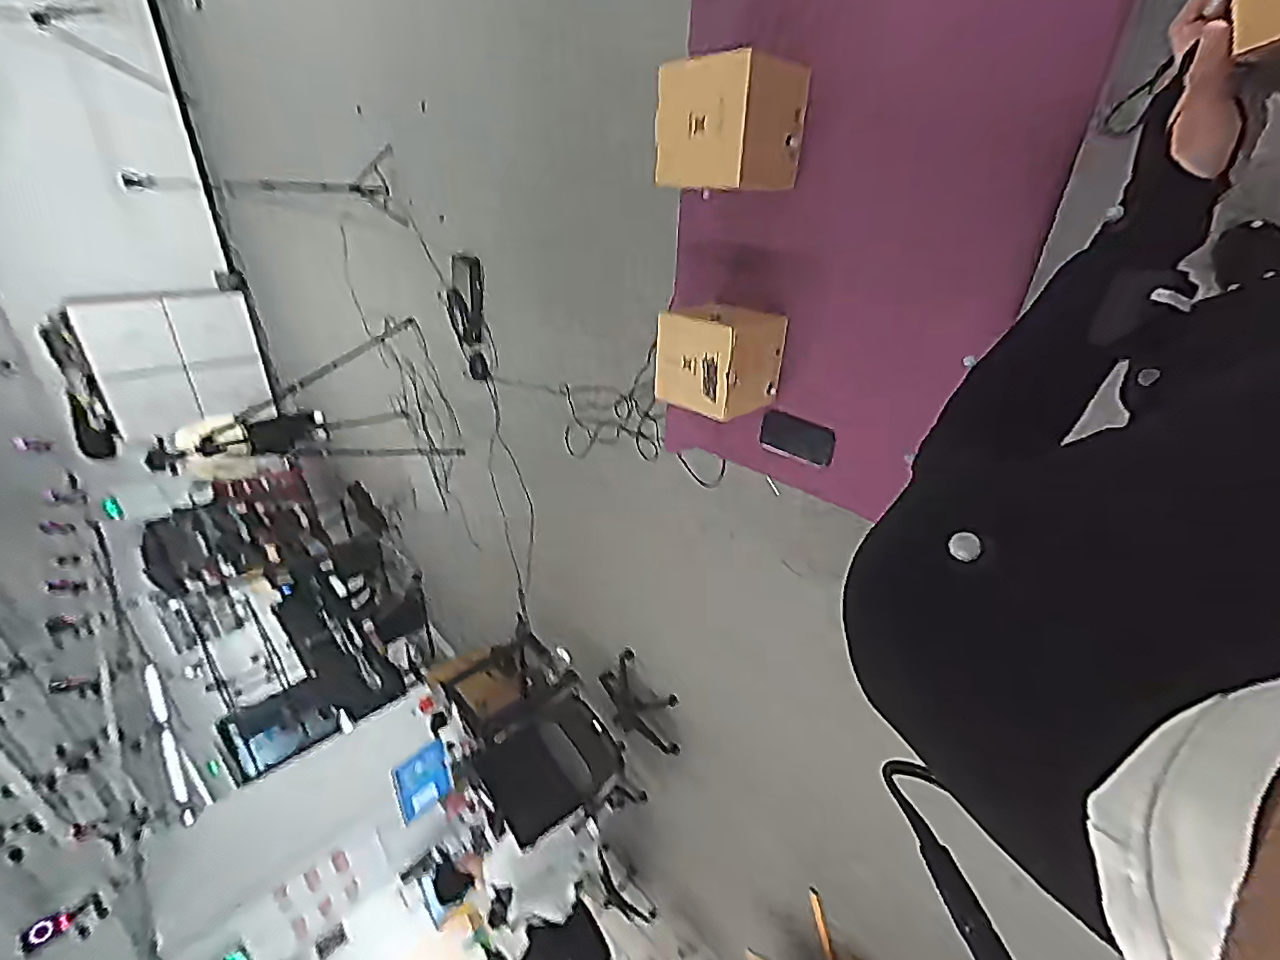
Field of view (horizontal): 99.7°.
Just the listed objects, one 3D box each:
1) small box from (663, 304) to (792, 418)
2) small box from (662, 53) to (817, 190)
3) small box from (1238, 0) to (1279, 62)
[{"bbox_3d":[0.166,-0.236,1.033,0.179,0.176,0.168,27,127,40],"label":"small box"},{"bbox_3d":[0.158,-0.569,0.880,0.179,0.176,0.168,26,127,39],"label":"small box"},{"bbox_3d":[0.449,-0.364,0.288,0.168,0.176,0.179,3,113,51],"label":"small box"}]
